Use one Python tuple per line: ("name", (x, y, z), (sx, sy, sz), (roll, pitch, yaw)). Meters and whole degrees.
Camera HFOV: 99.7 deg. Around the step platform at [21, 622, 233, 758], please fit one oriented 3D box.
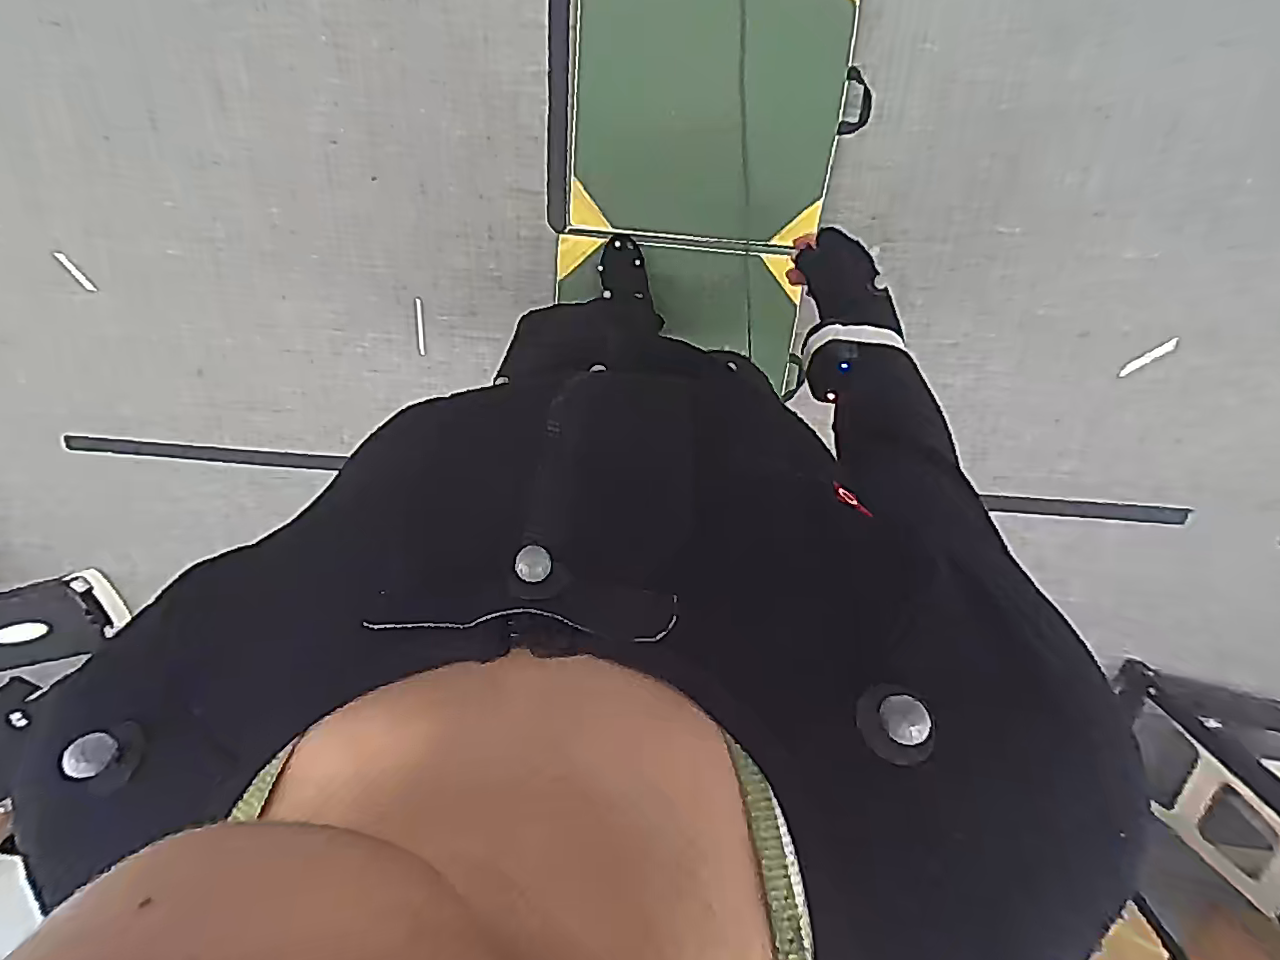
("step platform", (-1.870, 0.771, 1.971), (0.684, 0.204, 0.286), (-23, 106, 13))
